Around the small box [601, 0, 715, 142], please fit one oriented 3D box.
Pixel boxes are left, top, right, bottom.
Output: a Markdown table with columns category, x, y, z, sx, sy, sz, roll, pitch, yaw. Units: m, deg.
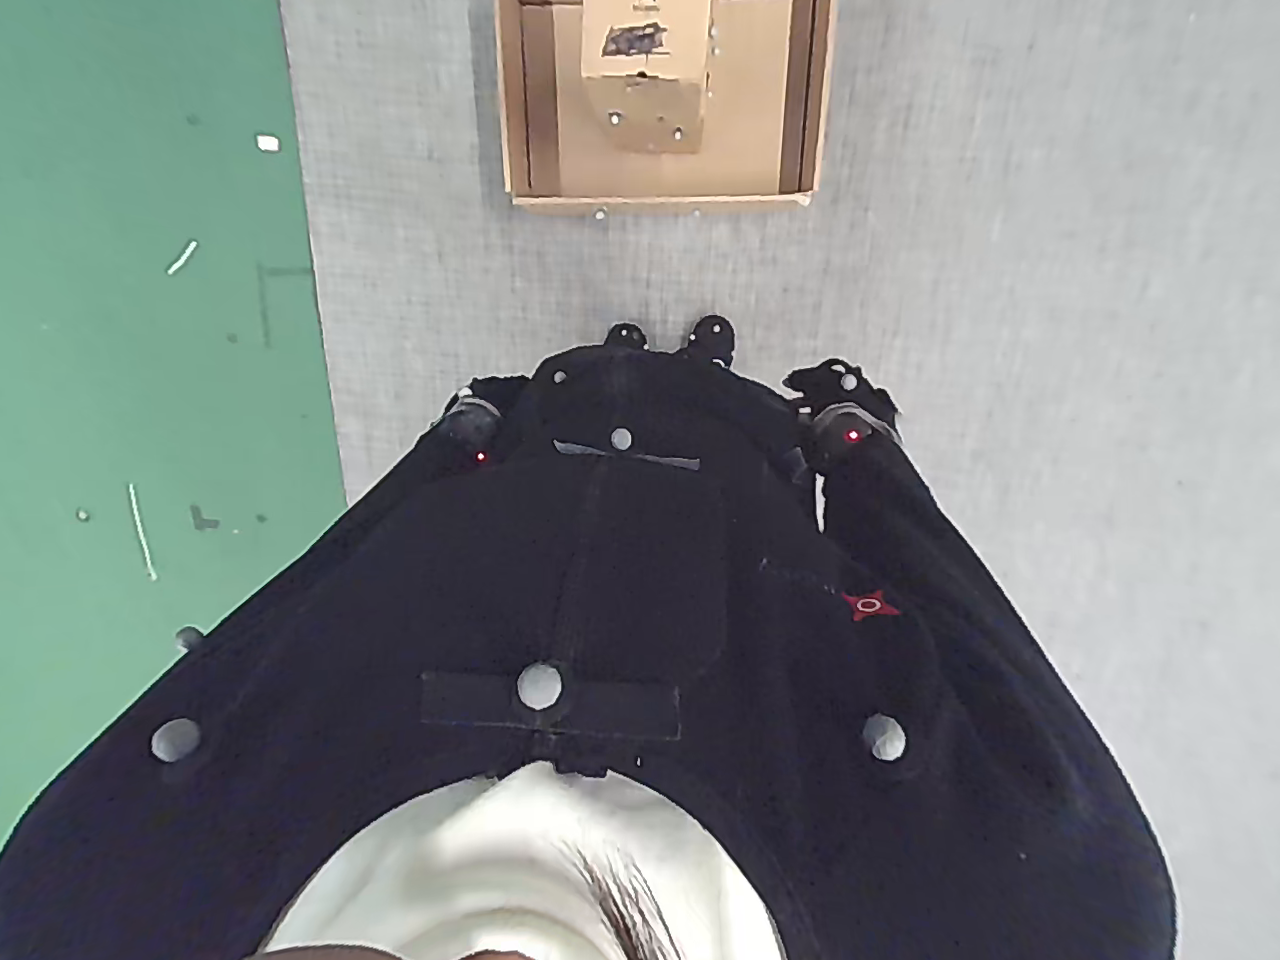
| category | x | y | z | sx | sy | sz | roll | pitch | yaw |
| --- | --- | --- | --- | --- | --- | --- | --- | --- | --- |
| small box | 0.029 | -0.684 | 0.908 | 0.179 | 0.176 | 0.168 | 1 | 108 | 4 |

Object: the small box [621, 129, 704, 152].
| category | x | y | z | sx | sy | sz | roll | pitch | yaw |
| --- | --- | --- | --- | --- | --- | --- | --- | --- | --- |
| small box | 0.041 | -0.766 | 1.071 | 0.179 | 0.176 | 0.168 | 0 | 107 | 4 |

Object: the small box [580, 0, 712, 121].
| category | x | y | z | sx | sy | sz | roll | pitch | yaw |
| --- | --- | --- | --- | --- | --- | --- | --- | --- | --- |
| small box | 0.014 | -0.637 | 0.768 | 0.168 | 0.176 | 0.179 | 5 | 107 | 3 |
